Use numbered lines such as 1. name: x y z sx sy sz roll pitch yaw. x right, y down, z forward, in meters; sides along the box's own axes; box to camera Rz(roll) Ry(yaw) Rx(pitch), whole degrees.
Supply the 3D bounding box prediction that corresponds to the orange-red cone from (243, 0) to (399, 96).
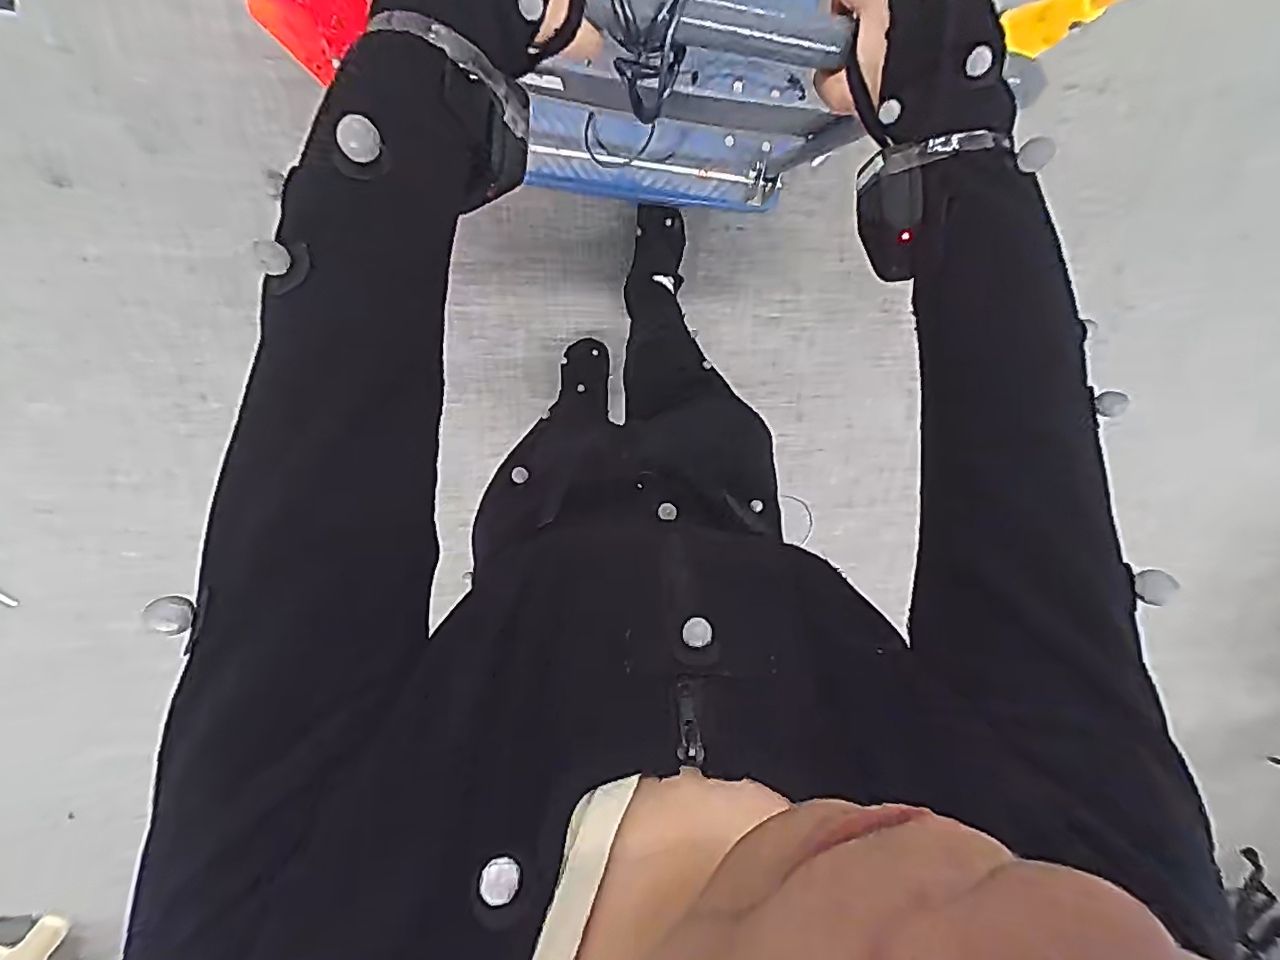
1. orange-red cone: -0.530 -0.755 0.789 0.199 0.360 0.198 -43 113 10
